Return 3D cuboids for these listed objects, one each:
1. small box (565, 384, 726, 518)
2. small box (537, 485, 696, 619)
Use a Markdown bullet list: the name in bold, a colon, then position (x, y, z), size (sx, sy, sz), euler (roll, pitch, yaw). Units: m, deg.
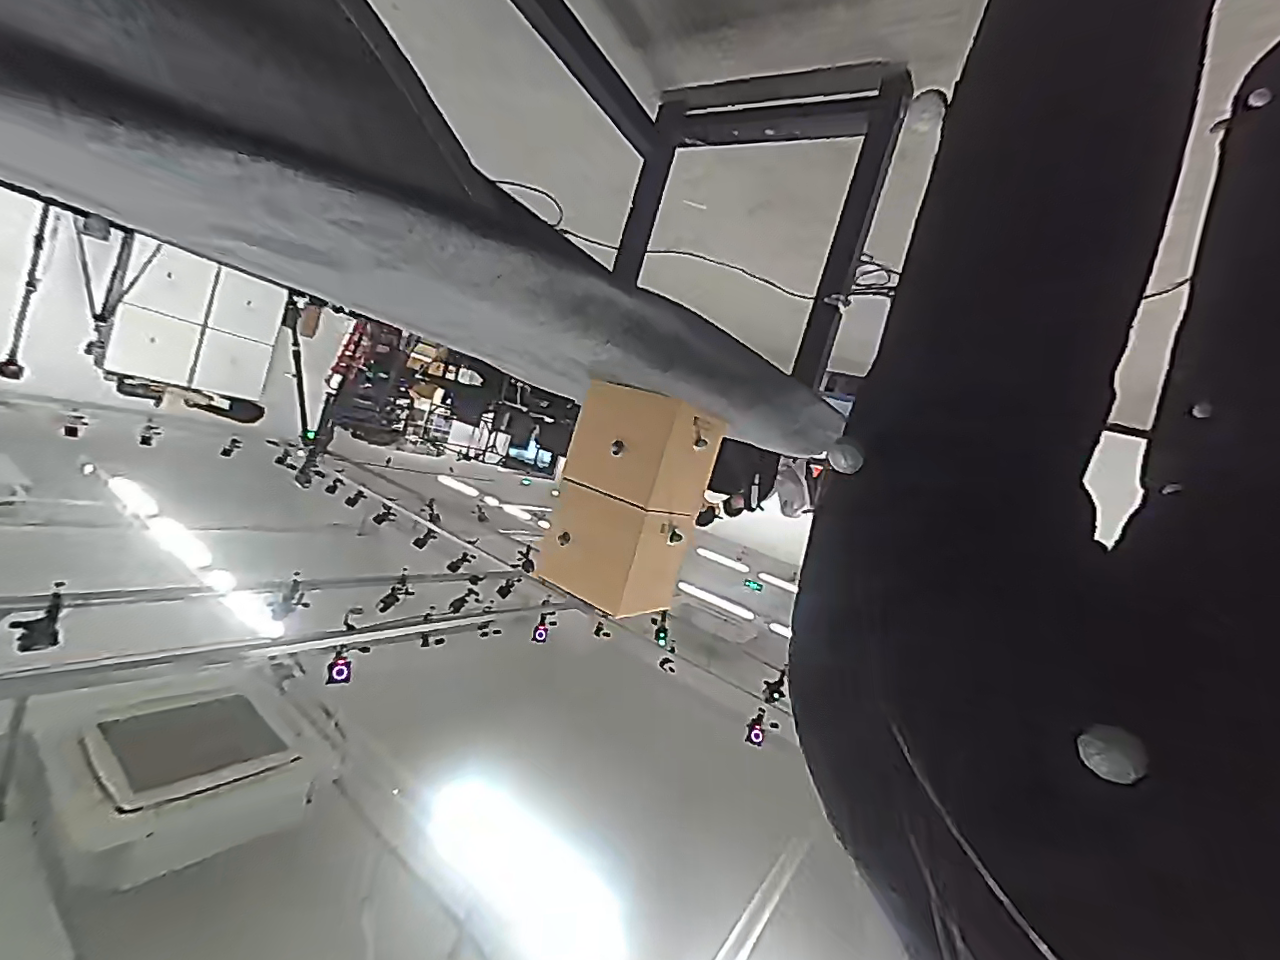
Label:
- **small box**: position (0.012, -0.049, 0.873), size (0.179, 0.176, 0.168), euler (18, -176, 34)
- **small box**: position (-0.034, 0.107, 0.883), size (0.179, 0.176, 0.168), euler (18, -175, 34)
